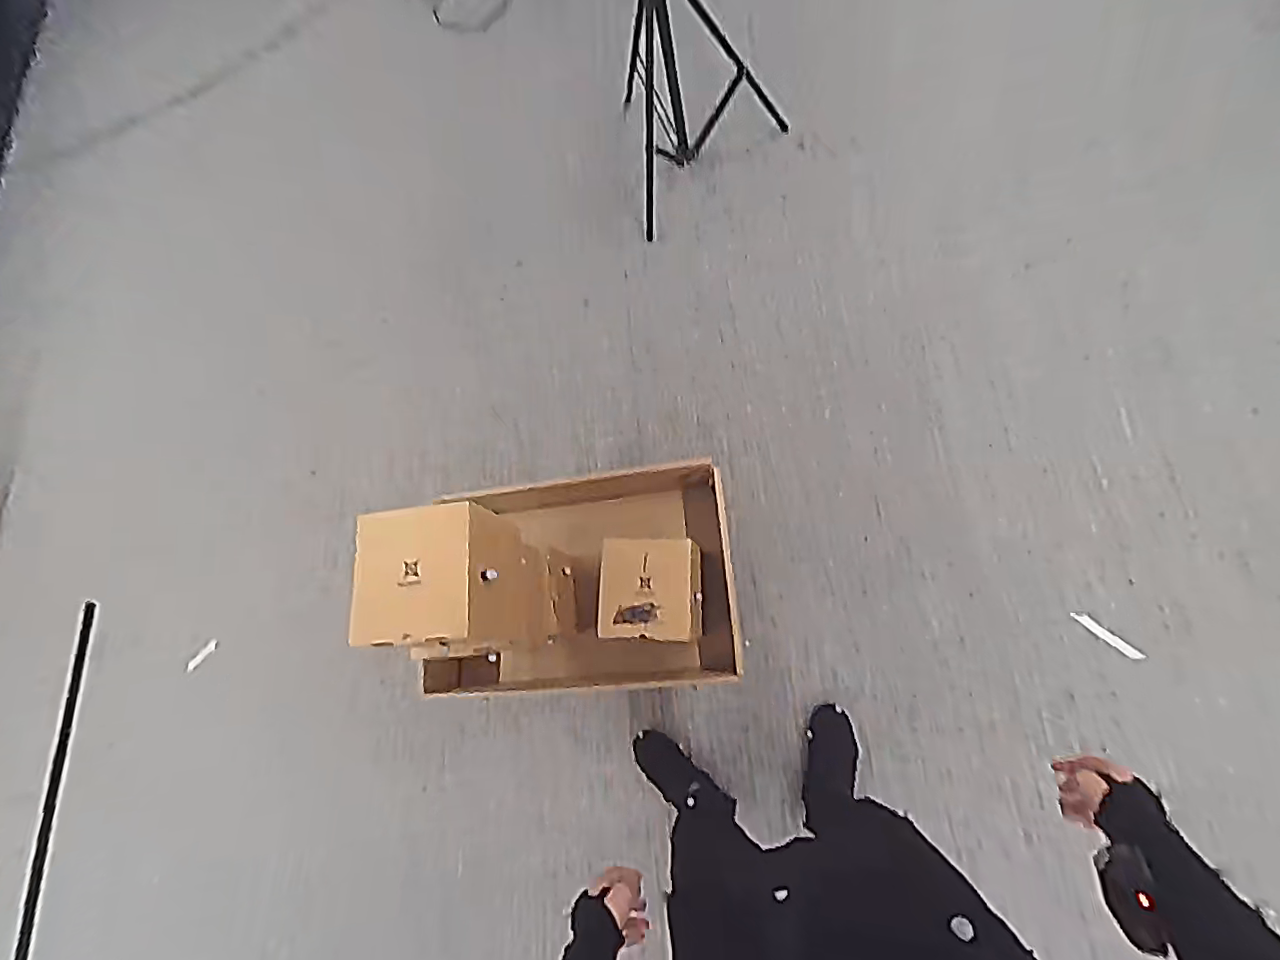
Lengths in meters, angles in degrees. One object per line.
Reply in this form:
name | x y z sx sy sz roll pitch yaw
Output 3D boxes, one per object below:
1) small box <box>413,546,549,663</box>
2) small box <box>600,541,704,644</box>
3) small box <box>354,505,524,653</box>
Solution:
small box | -0.266 0.208 0.921 0.168 0.176 0.179 -12 73 8
small box | 0.030 0.213 1.023 0.168 0.176 0.179 -2 75 13
small box | -0.273 0.147 0.768 0.168 0.176 0.179 -9 73 9
